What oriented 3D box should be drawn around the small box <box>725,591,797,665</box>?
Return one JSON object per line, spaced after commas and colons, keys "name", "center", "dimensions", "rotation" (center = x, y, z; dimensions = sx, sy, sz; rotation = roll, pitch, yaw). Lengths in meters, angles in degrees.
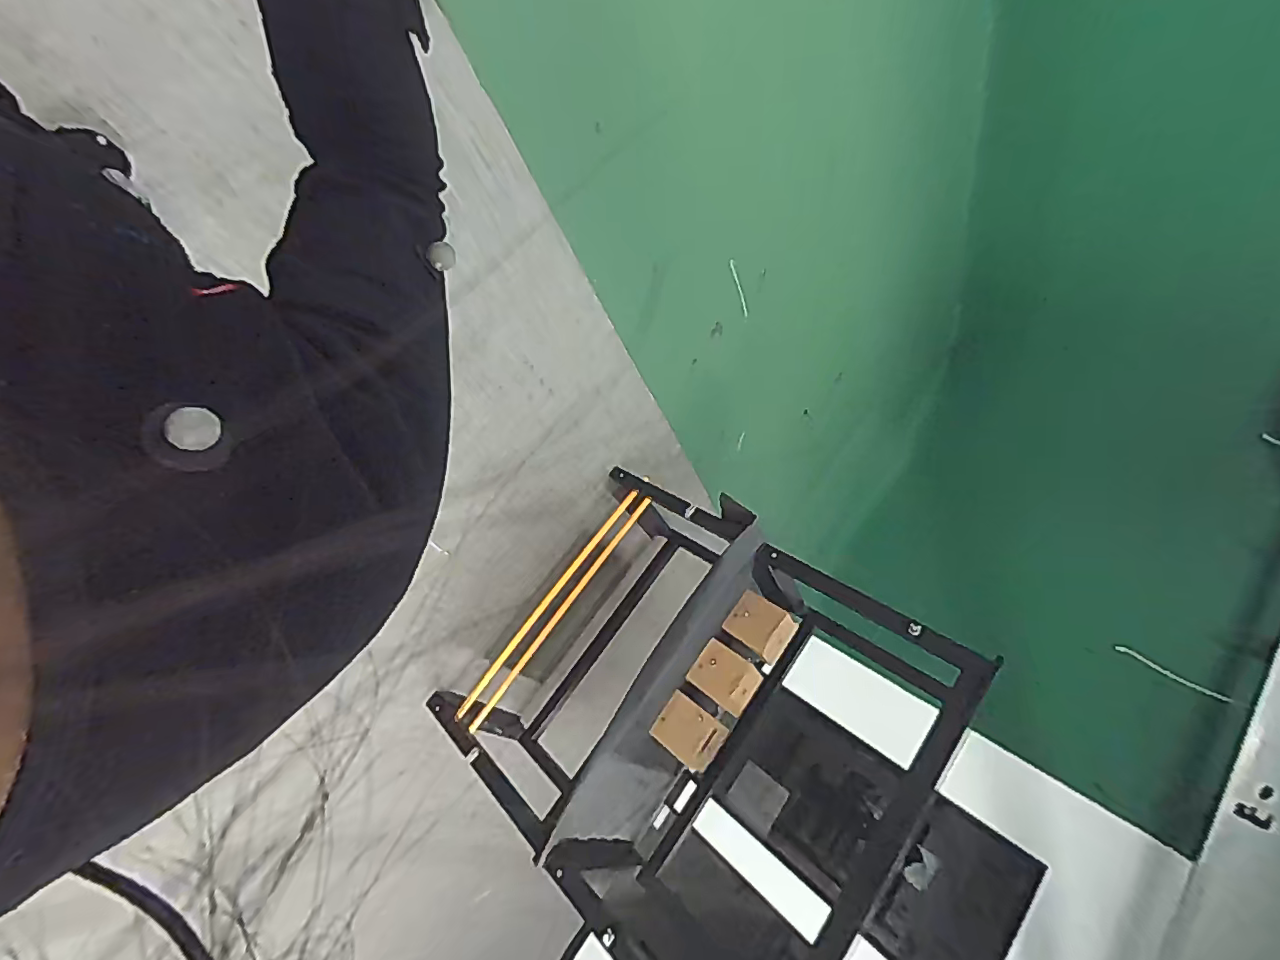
{"name": "small box", "center": [0.423, 0.515, 1.892], "dimensions": [0.168, 0.176, 0.179], "rotation": [-53, 141, -13]}
